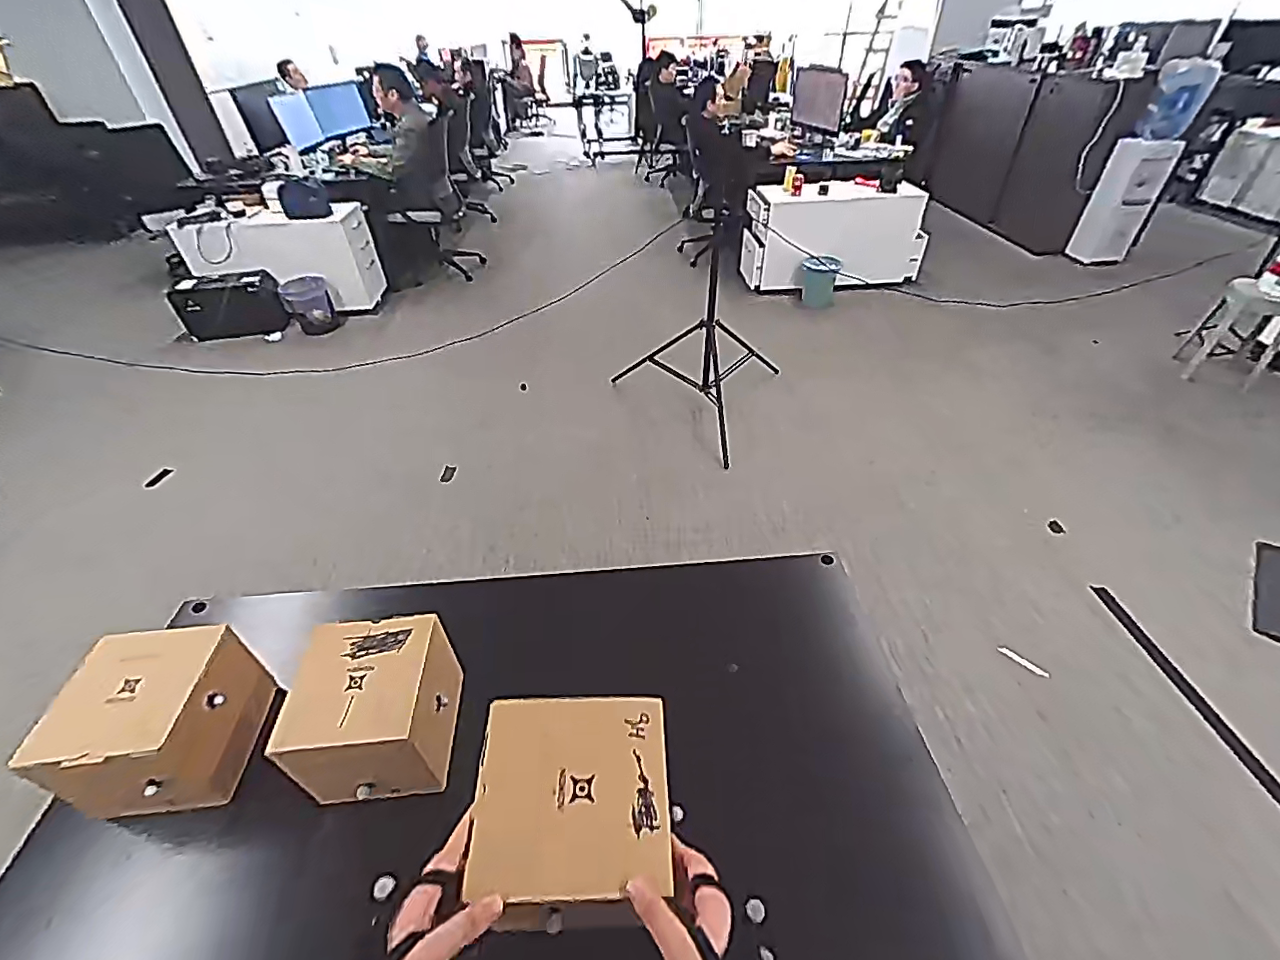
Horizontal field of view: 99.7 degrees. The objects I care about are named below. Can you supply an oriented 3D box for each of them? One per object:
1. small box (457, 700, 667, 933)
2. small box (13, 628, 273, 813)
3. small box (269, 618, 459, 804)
[{"bbox_3d":[-0.067,0.344,0.552,0.179,0.176,0.168,-1,44,-3],"label":"small box"},{"bbox_3d":[-0.644,0.330,0.736,0.168,0.176,0.179,-4,40,-5],"label":"small box"},{"bbox_3d":[-0.357,0.315,0.744,0.168,0.176,0.179,-5,42,-3],"label":"small box"}]
